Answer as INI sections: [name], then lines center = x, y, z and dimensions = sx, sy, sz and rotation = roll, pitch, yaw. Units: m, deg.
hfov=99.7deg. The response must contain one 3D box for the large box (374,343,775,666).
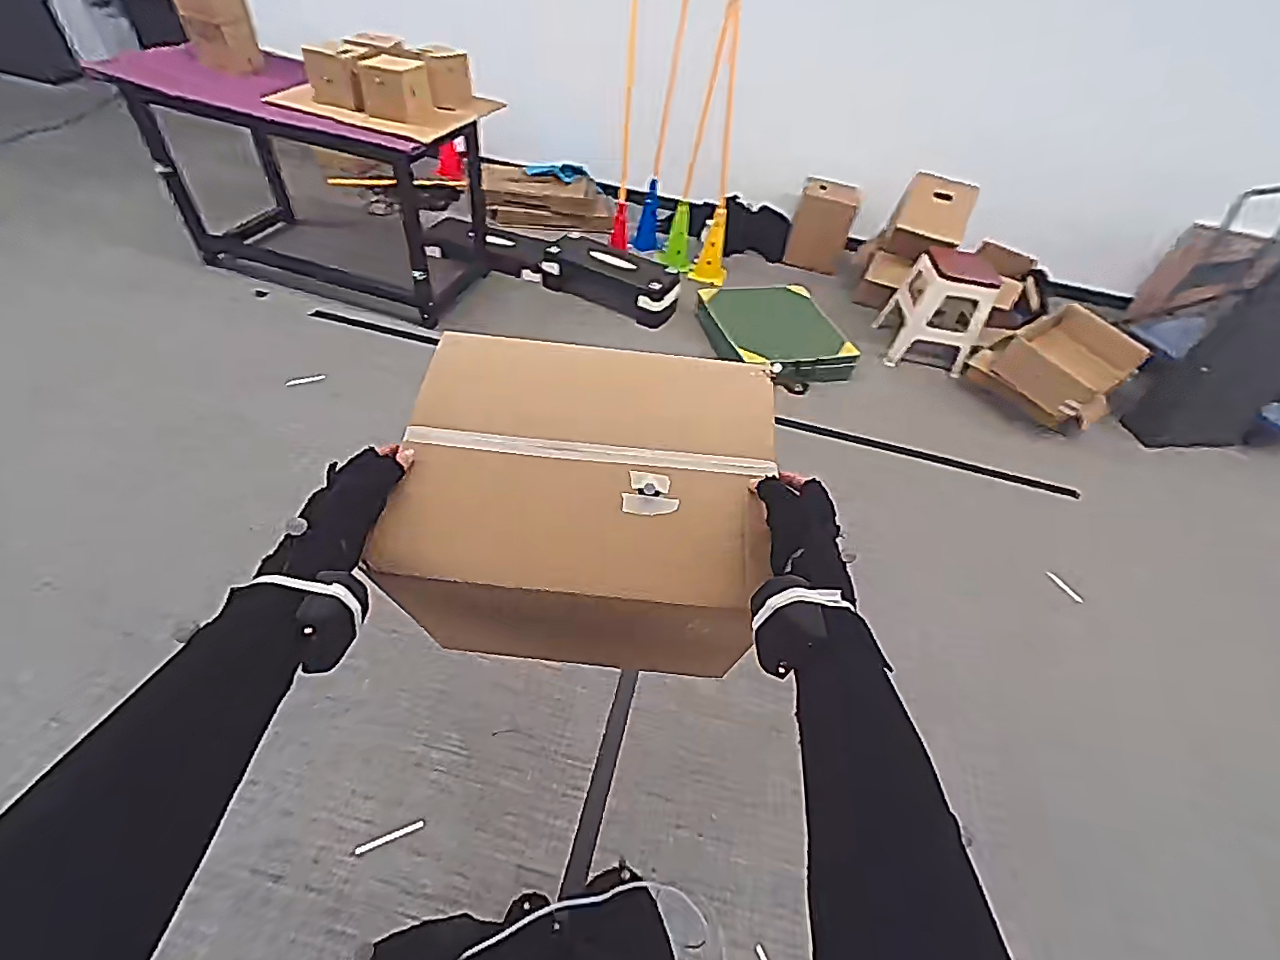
[large box]
center = -0.066, 0.050, 0.731
dimensions = 0.408, 0.320, 0.320
rotation = 6, 60, -1
